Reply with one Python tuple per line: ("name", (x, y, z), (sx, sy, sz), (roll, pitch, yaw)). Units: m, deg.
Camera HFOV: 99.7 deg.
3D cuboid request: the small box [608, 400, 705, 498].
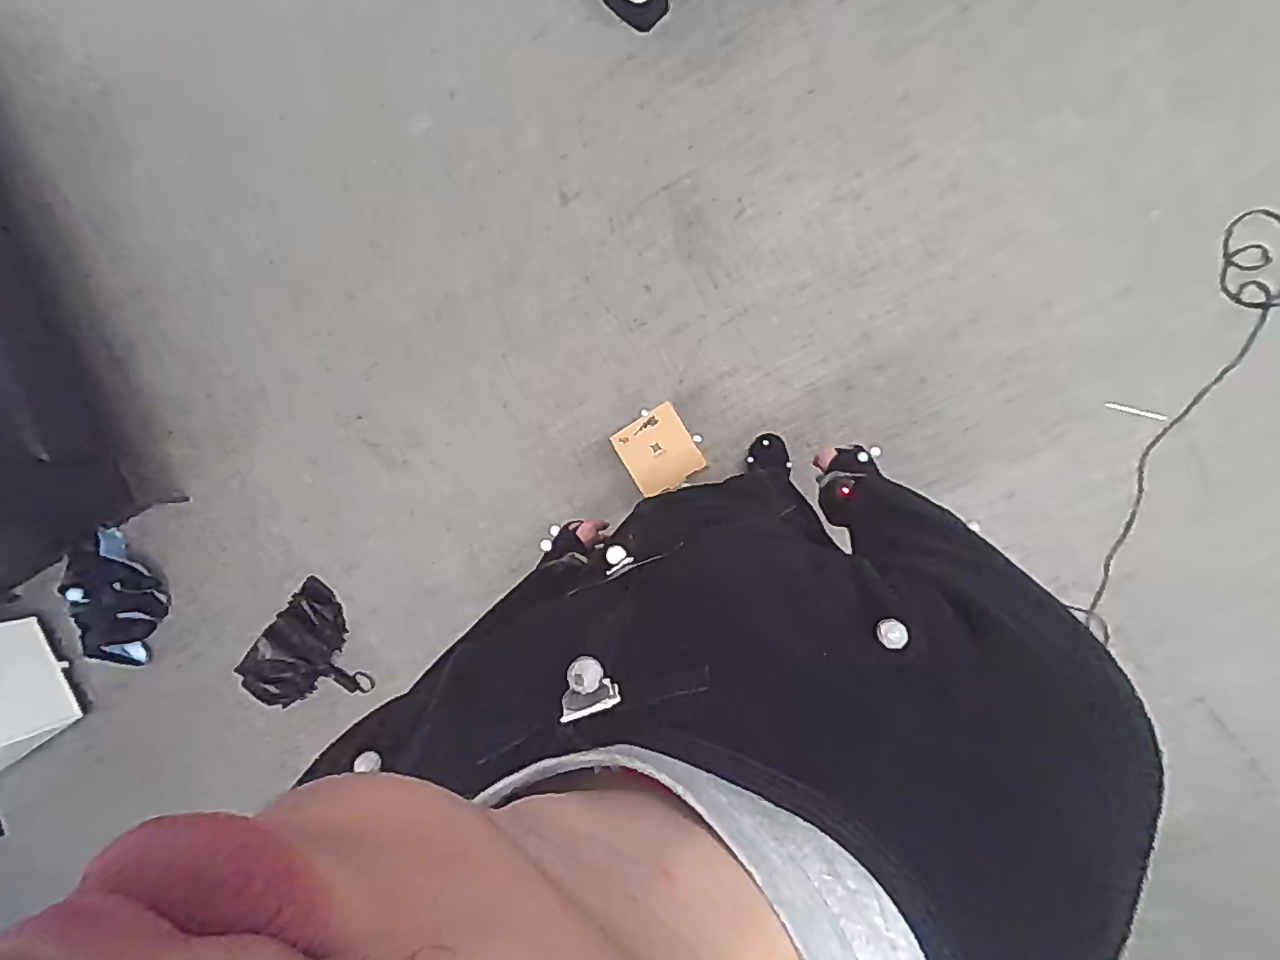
("small box", (0.050, -0.075, 1.327), (0.168, 0.176, 0.179), (-32, 87, 9))
